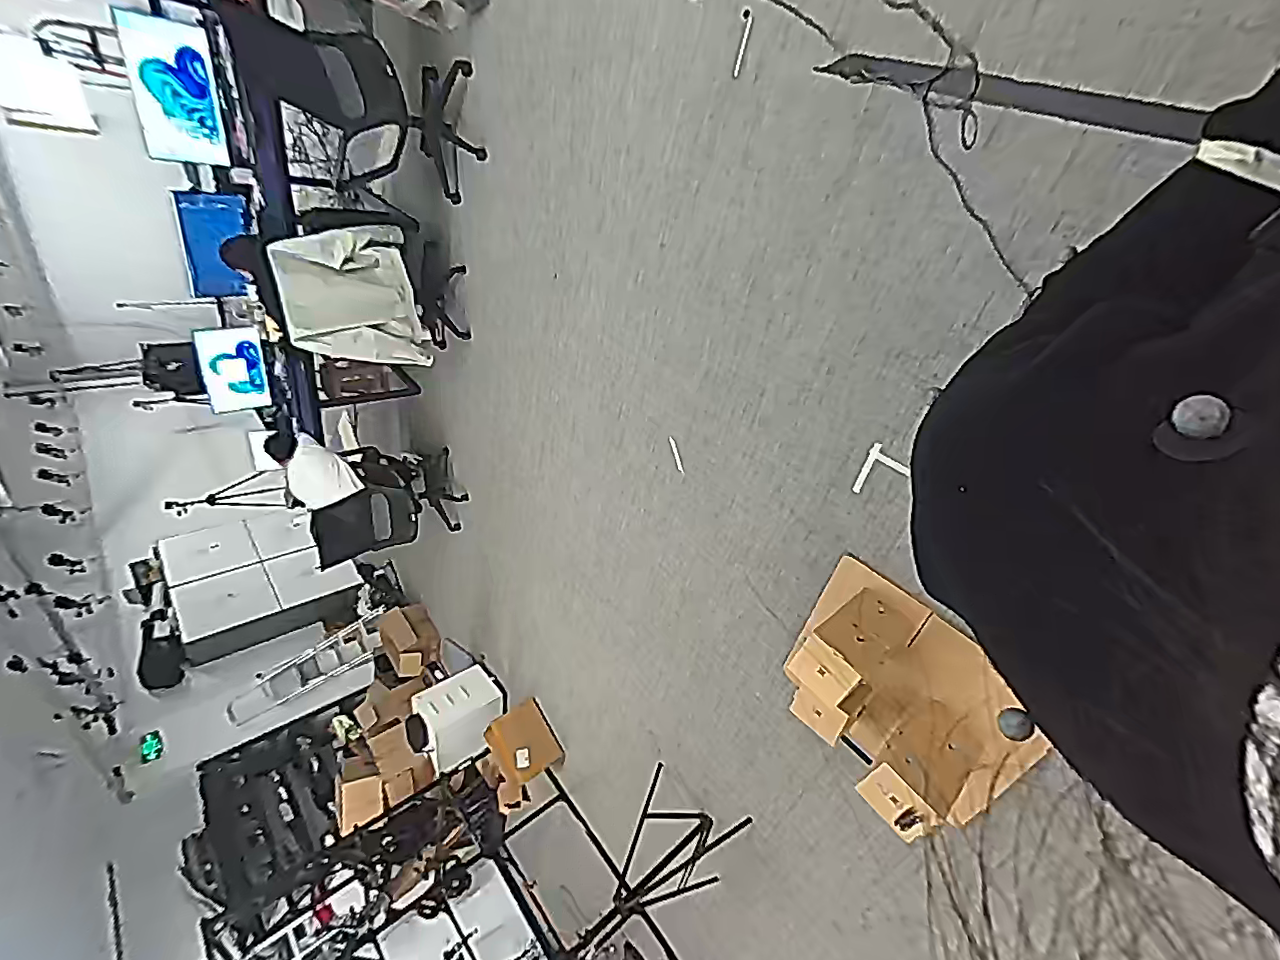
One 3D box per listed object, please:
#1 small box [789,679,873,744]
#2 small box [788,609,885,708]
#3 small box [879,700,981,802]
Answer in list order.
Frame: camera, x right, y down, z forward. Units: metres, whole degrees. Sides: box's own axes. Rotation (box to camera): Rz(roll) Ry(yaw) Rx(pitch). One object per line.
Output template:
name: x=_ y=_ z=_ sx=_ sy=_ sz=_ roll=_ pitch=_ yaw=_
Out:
small box: x=0.637 y=0.730 z=1.806 sx=0.179 sy=0.176 sz=0.168 roll=36 pitch=130 yaw=36
small box: x=0.564 y=0.505 z=1.545 sx=0.168 sy=0.176 sz=0.179 roll=42 pitch=131 yaw=31
small box: x=0.849 y=0.786 z=1.579 sx=0.179 sy=0.176 sz=0.168 roll=46 pitch=134 yaw=26
